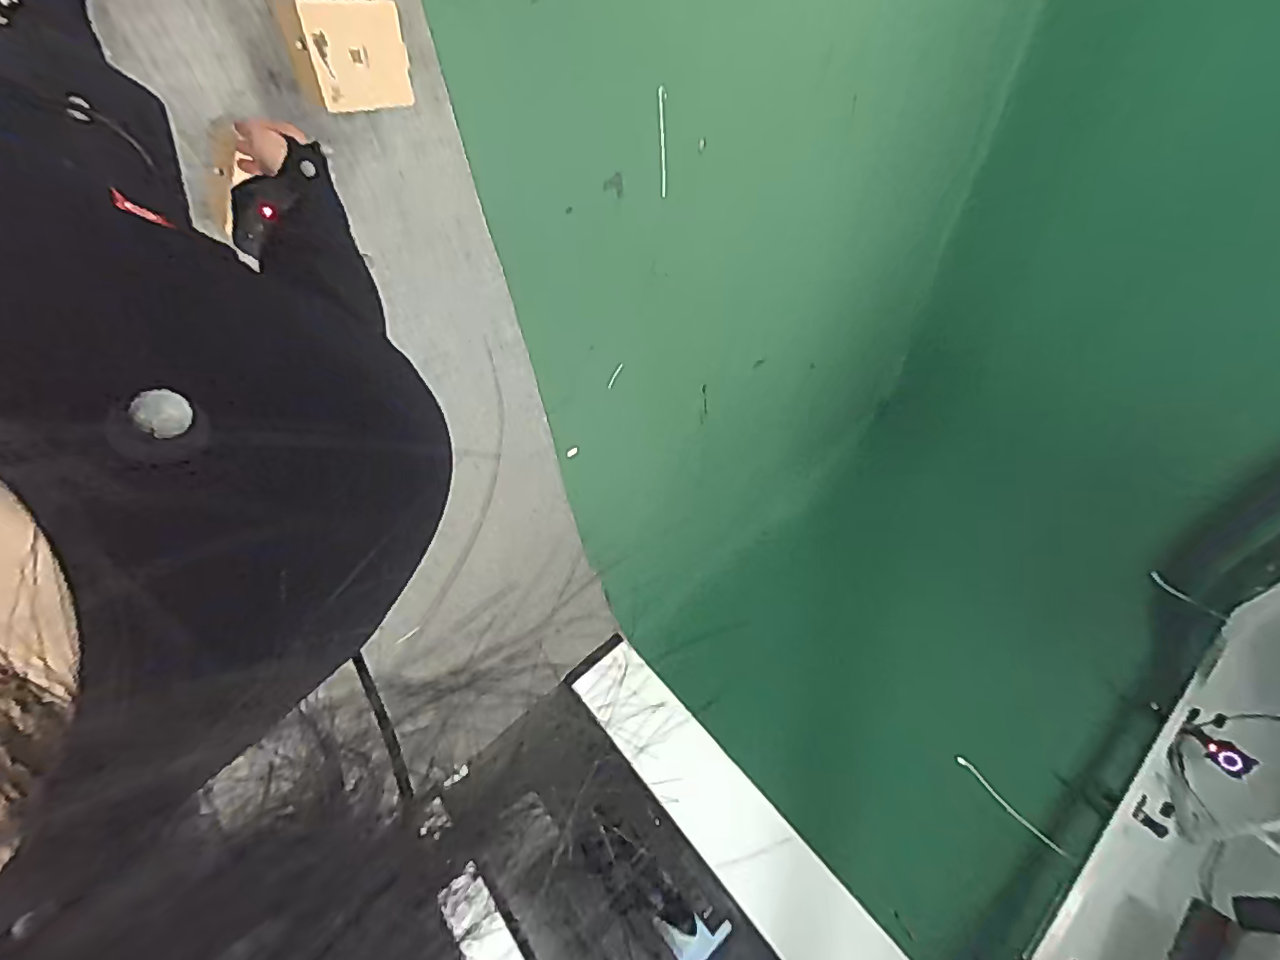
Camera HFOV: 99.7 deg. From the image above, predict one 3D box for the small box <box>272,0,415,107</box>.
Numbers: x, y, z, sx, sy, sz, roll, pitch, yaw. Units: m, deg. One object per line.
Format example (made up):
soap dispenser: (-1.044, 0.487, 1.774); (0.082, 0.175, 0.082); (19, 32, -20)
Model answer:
small box: (-0.568, -0.840, 1.039); (0.179, 0.176, 0.168); (-28, 144, -29)

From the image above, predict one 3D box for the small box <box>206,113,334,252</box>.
small box: (-0.749, -0.595, 1.088); (0.168, 0.176, 0.179); (-2, 126, -50)
